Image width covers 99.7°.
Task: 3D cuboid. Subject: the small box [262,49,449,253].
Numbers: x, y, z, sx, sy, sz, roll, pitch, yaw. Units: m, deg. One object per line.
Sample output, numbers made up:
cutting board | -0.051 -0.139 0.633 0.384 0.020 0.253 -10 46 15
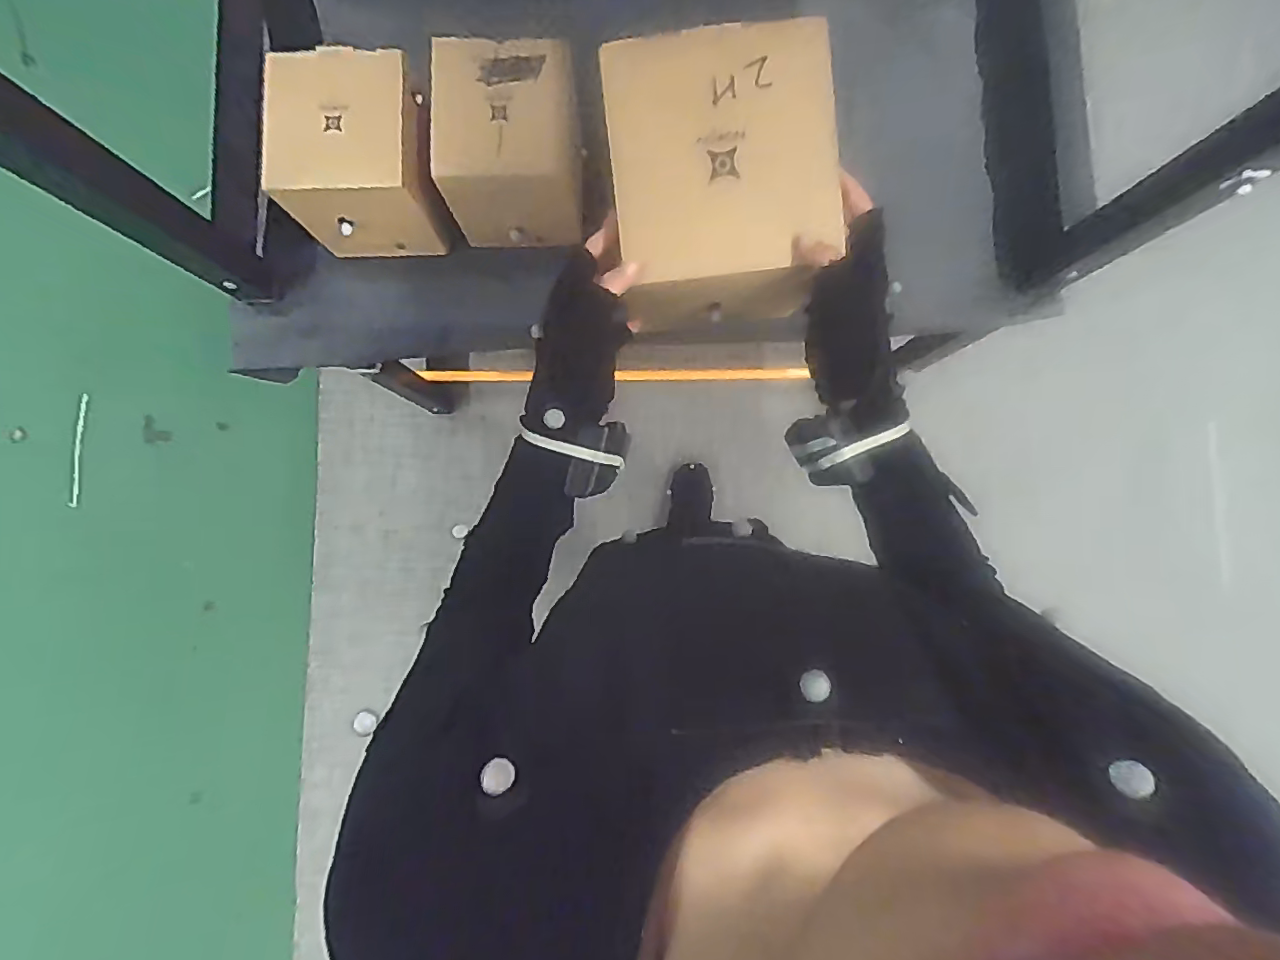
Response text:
small box | -0.360 -0.418 0.714 0.168 0.176 0.179 -1 85 -1

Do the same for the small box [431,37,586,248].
small box | -0.163 -0.435 0.718 0.168 0.176 0.179 -1 86 0
